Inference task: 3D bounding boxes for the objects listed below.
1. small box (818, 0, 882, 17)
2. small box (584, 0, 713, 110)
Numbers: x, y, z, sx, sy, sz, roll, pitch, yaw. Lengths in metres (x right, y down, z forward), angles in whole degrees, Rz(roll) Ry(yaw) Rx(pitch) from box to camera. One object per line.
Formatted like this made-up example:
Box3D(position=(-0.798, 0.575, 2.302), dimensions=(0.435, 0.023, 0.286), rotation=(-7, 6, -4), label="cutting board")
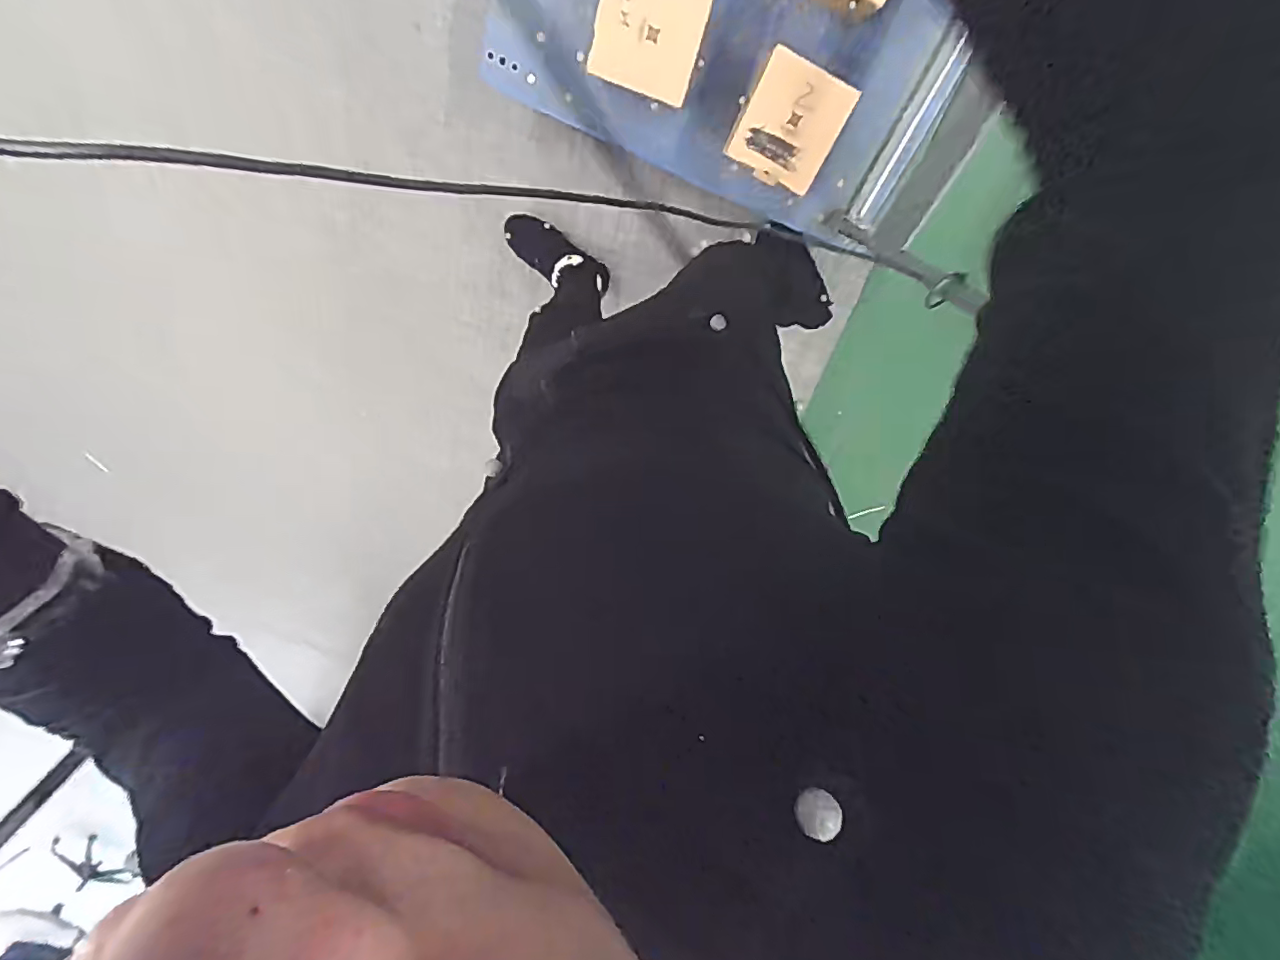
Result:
Box3D(position=(0.337, -0.880, 0.858), dimensions=(0.179, 0.176, 0.168), rotation=(22, 123, -10), label="small box")
Box3D(position=(0.016, -0.777, 0.951), dimensions=(0.179, 0.176, 0.168), rotation=(17, 123, -7), label="small box")
